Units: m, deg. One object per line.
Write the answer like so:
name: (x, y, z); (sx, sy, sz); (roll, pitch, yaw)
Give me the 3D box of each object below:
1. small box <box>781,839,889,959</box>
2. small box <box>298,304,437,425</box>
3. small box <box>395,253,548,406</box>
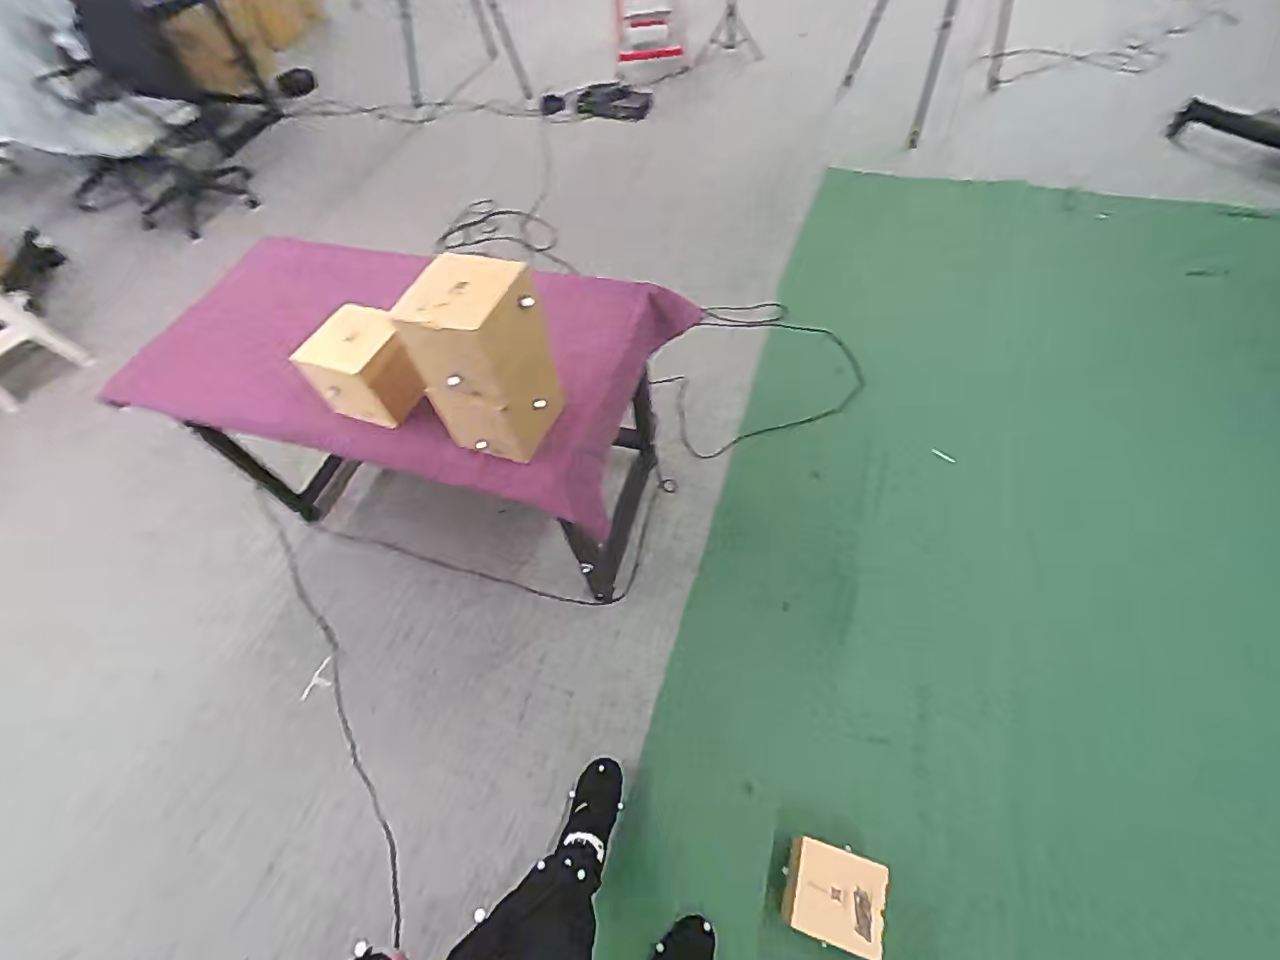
small box: (0.415, 0.900, 1.166); (0.179, 0.176, 0.168); (13, 59, 16)
small box: (-0.563, -0.242, 1.151); (0.168, 0.176, 0.179); (15, 58, 16)
small box: (-0.272, -0.257, 0.927); (0.168, 0.176, 0.179); (14, 59, 16)
